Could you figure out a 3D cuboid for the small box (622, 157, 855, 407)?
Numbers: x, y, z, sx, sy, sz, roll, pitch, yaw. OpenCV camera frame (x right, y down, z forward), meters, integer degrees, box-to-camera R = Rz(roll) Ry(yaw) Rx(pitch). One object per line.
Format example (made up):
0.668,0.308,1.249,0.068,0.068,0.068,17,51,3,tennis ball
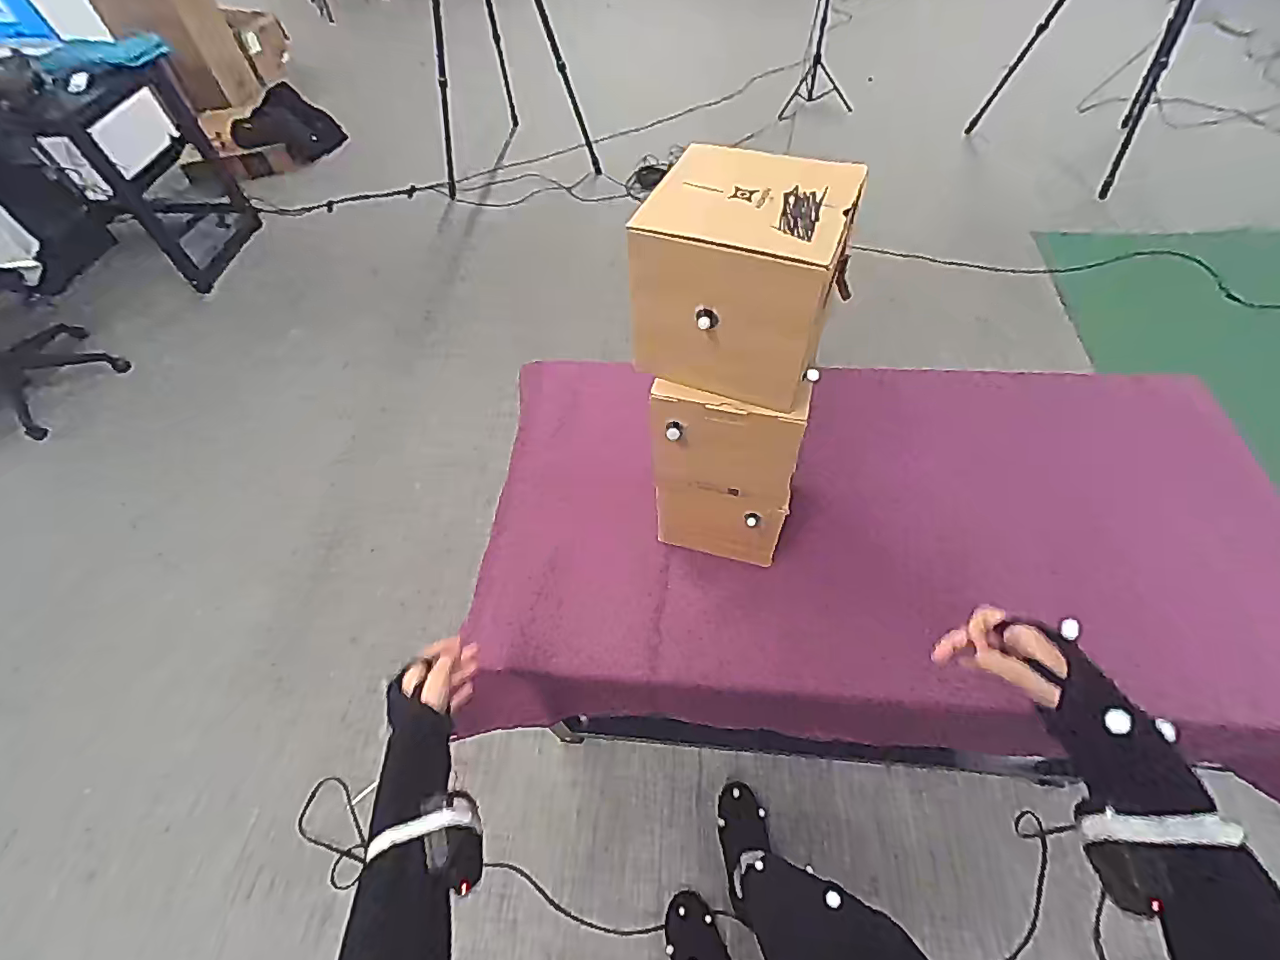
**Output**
0.098,-0.200,0.560,0.179,0.176,0.168,17,56,16,small box

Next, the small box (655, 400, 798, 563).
0.127,0.007,0.816,0.179,0.176,0.168,12,56,11,small box
